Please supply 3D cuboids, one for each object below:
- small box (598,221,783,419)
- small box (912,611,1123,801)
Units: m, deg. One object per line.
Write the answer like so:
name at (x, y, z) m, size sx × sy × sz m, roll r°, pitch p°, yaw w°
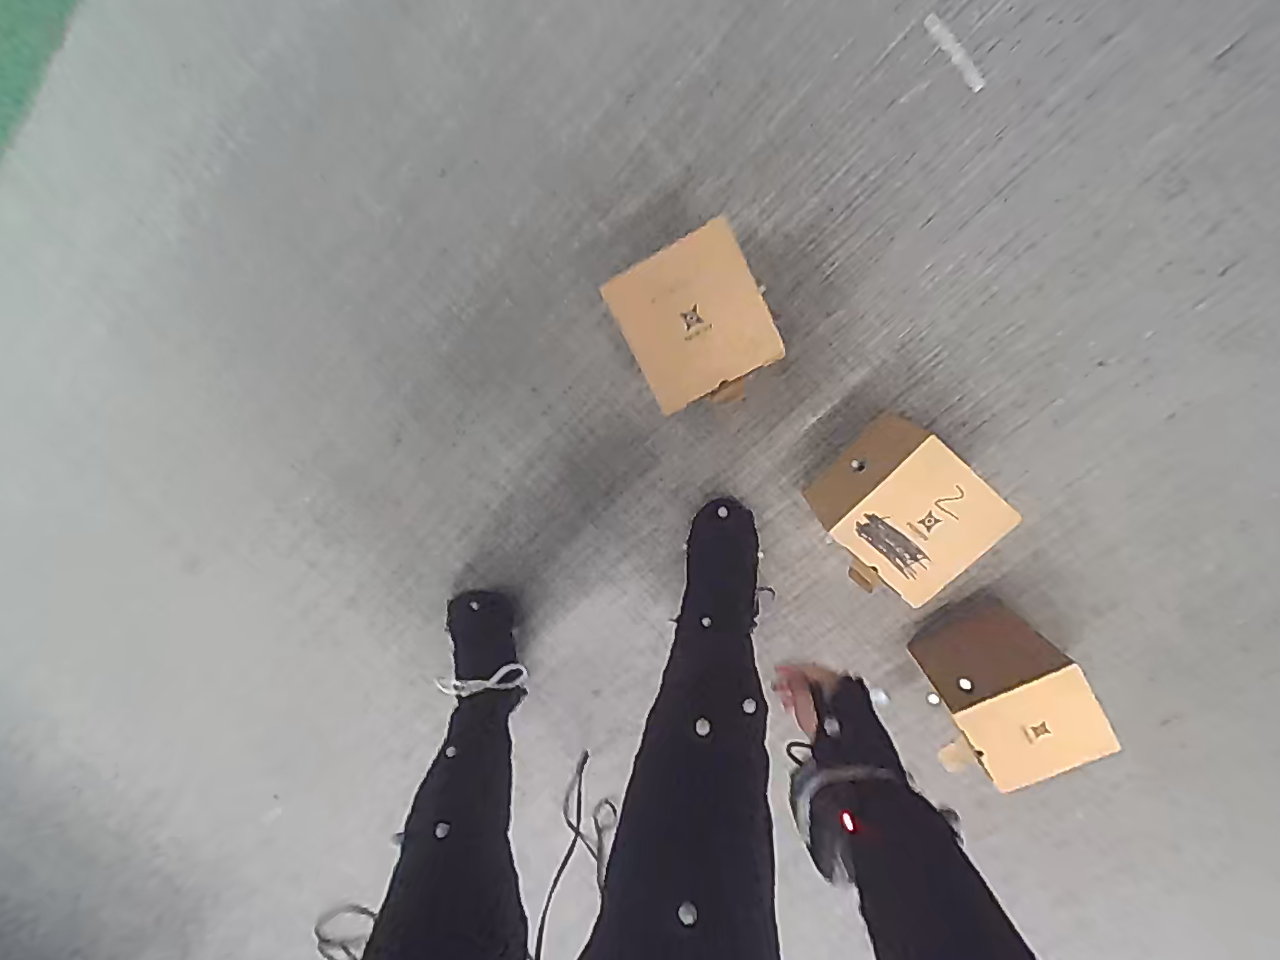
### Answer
small box at (0.067, -0.202, 0.710) m, size 0.168 × 0.176 × 0.179 m, roll -27°, pitch 100°, yaw 10°
small box at (0.556, 0.330, 0.820) m, size 0.179 × 0.176 × 0.168 m, roll -32°, pitch 101°, yaw 13°
